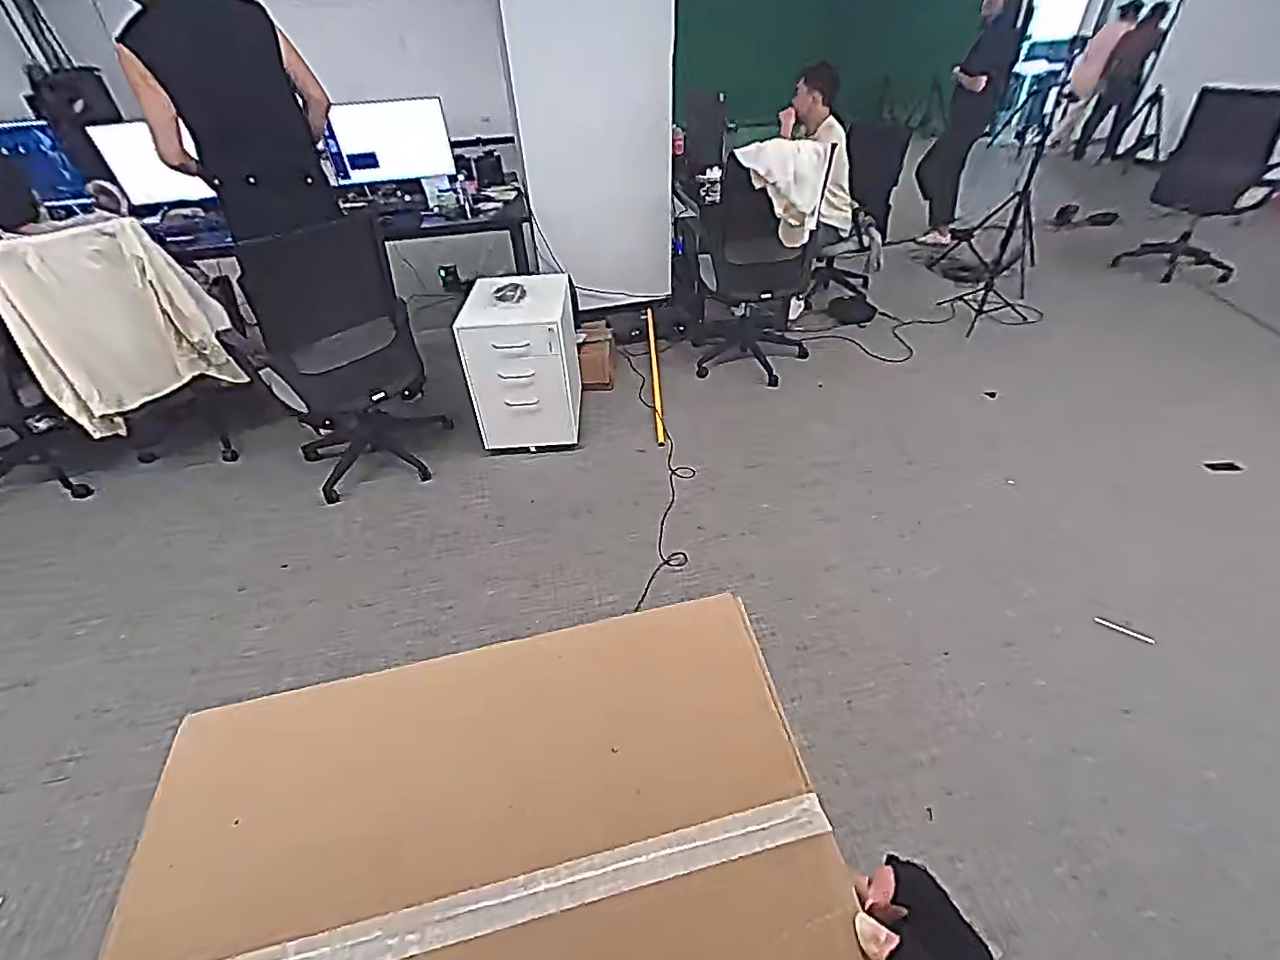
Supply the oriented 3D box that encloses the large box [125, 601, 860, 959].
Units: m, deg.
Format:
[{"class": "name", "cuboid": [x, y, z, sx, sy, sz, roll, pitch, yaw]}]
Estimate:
[{"class": "large box", "cuboid": [-0.083, 0.343, 0.426, 0.408, 0.320, 0.320, -11, 48, -7]}]
